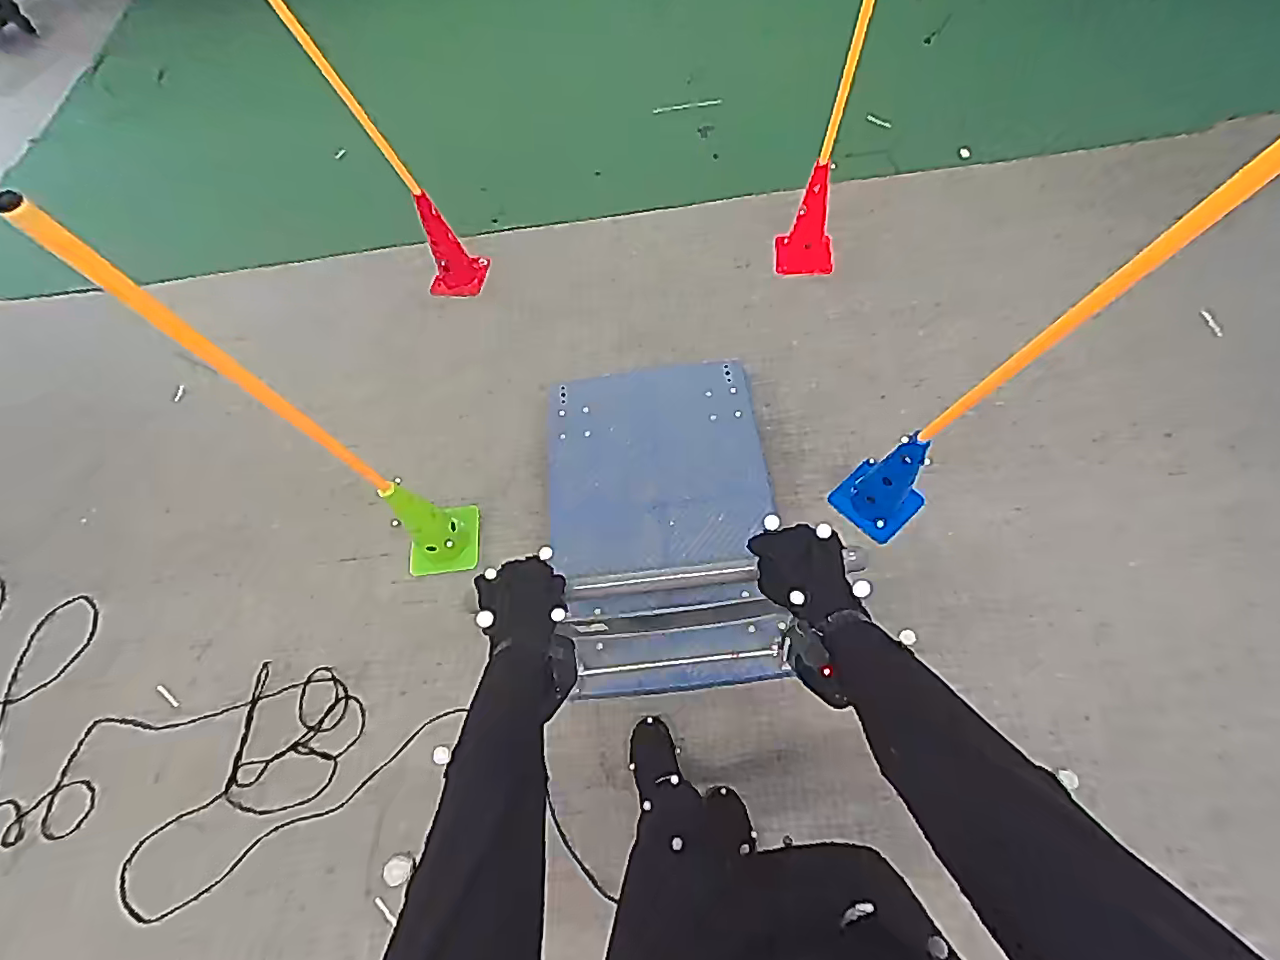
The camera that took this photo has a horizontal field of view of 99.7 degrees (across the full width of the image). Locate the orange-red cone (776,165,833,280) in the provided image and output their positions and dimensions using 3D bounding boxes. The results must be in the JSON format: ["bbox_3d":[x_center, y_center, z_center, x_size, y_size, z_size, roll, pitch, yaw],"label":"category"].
[{"bbox_3d":[0.578,-0.873,1.811,0.198,0.360,0.199,3,65,9],"label":"orange-red cone"}]
